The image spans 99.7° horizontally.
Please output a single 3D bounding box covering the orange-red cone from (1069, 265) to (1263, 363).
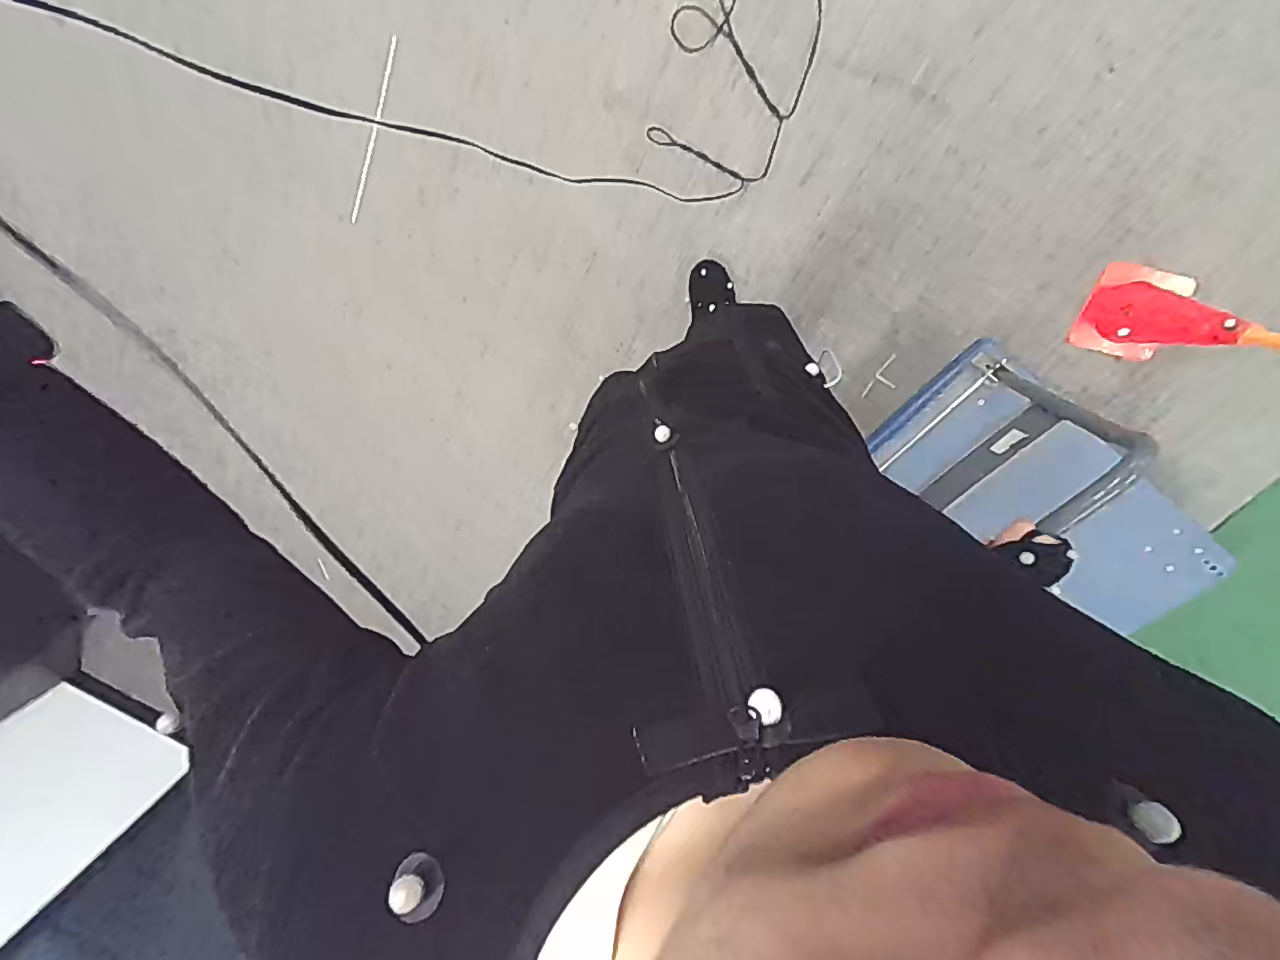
[{"bbox_3d":[1.140,-0.330,1.140,0.198,0.360,0.199,17,114,3],"label":"orange-red cone"}]
